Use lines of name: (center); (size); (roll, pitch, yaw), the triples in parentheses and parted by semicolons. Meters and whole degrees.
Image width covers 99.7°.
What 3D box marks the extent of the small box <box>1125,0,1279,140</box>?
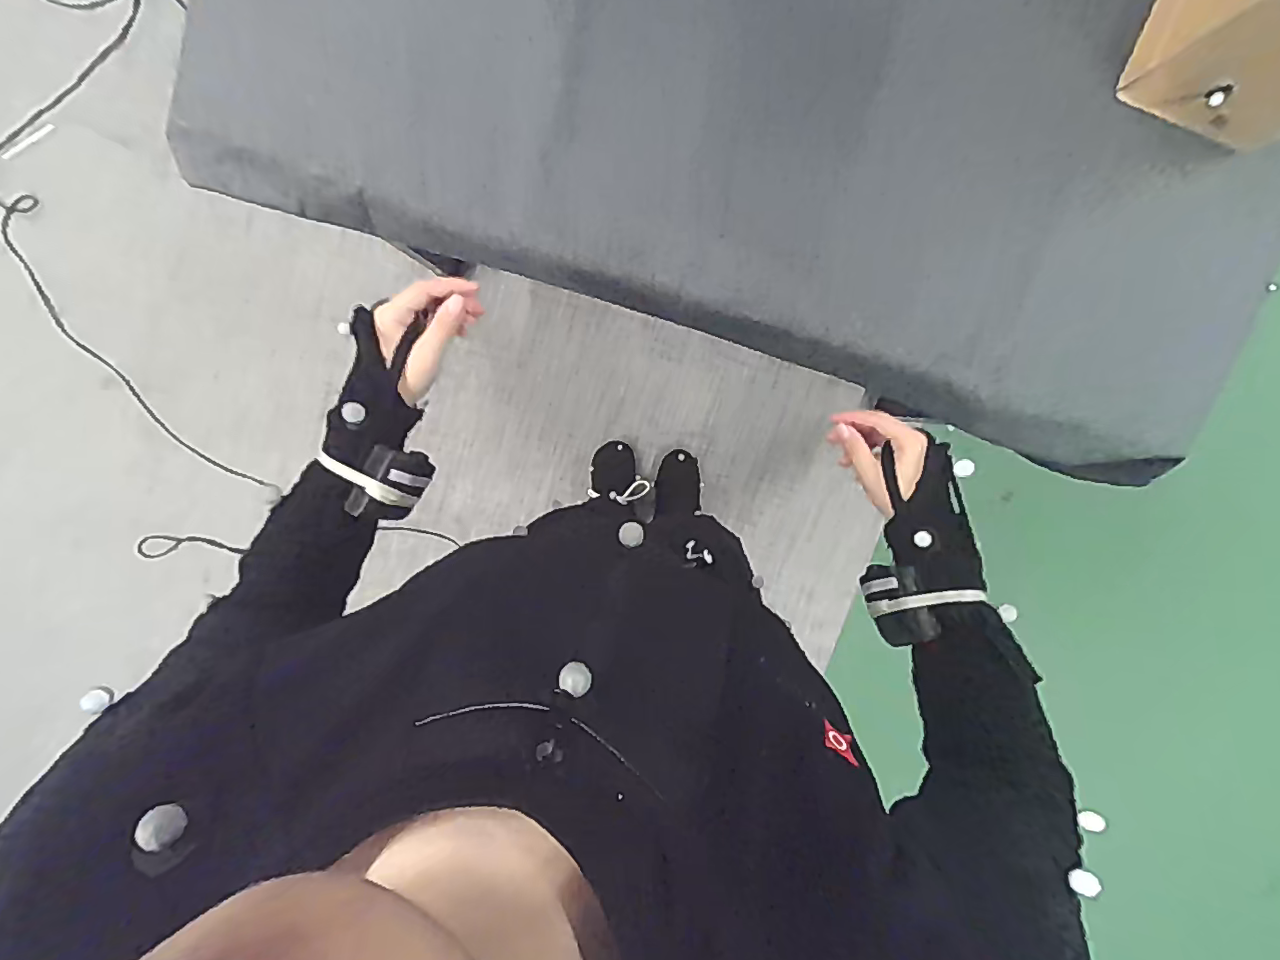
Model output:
small box: (0.621, -0.465, 0.502); (0.168, 0.176, 0.179); (20, 99, -4)
